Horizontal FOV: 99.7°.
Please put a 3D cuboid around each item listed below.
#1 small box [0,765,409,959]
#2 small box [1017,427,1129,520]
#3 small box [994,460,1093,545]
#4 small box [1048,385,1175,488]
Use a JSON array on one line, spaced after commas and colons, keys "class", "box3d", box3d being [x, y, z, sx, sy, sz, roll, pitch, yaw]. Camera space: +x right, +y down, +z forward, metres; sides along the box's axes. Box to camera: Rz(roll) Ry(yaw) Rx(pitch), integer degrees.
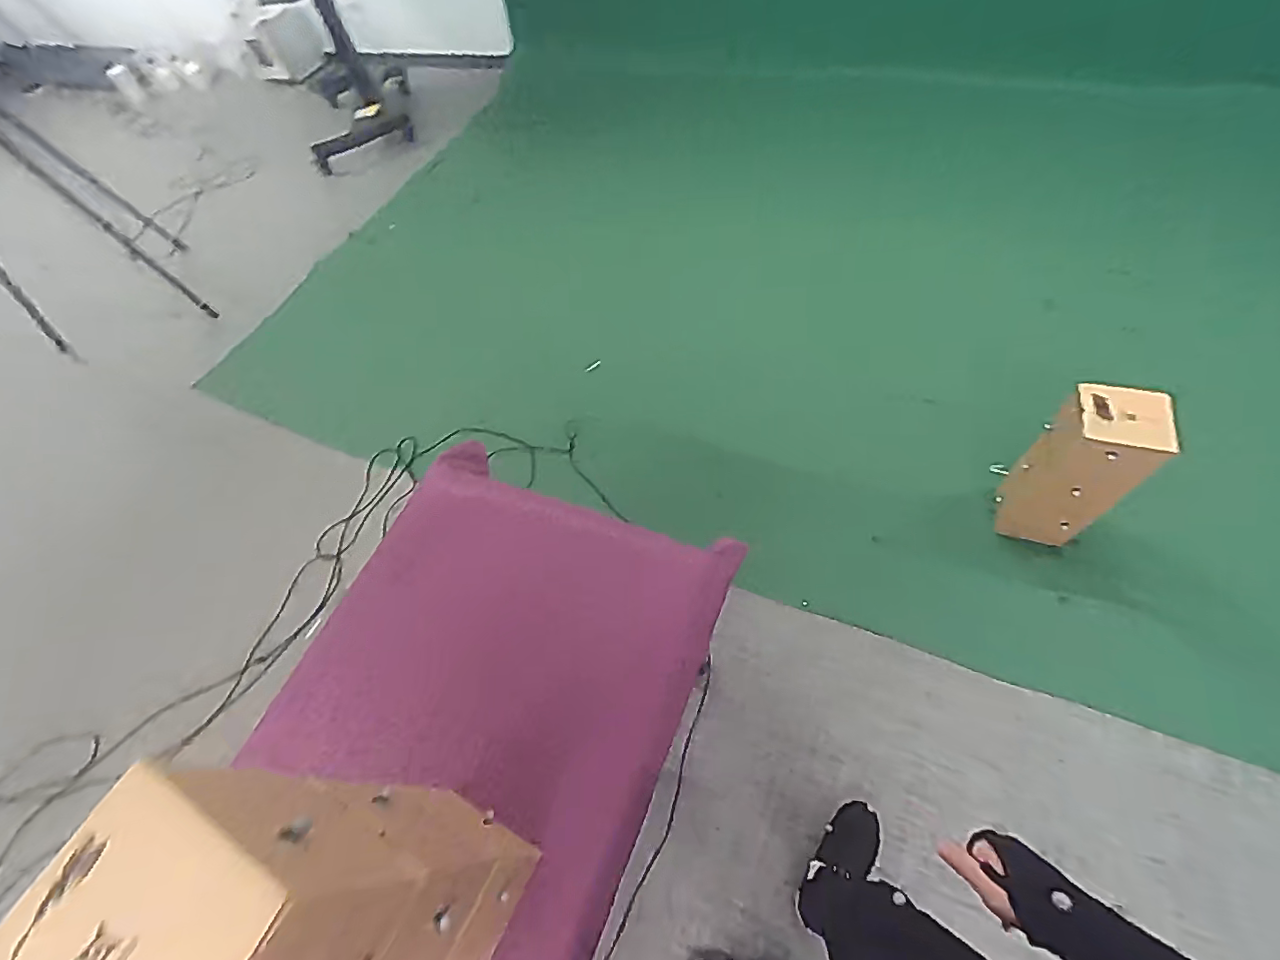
[{"class": "small box", "box3d": [-0.311, 0.336, 0.394, 0.179, 0.176, 0.168, 20, 63, 21]}, {"class": "small box", "box3d": [1.129, -0.014, 1.417, 0.179, 0.176, 0.168, 14, 62, 18]}, {"class": "small box", "box3d": [1.152, 0.070, 1.553, 0.179, 0.176, 0.168, 13, 61, 17]}, {"class": "small box", "box3d": [1.099, -0.099, 1.280, 0.179, 0.176, 0.168, 12, 62, 17]}]
